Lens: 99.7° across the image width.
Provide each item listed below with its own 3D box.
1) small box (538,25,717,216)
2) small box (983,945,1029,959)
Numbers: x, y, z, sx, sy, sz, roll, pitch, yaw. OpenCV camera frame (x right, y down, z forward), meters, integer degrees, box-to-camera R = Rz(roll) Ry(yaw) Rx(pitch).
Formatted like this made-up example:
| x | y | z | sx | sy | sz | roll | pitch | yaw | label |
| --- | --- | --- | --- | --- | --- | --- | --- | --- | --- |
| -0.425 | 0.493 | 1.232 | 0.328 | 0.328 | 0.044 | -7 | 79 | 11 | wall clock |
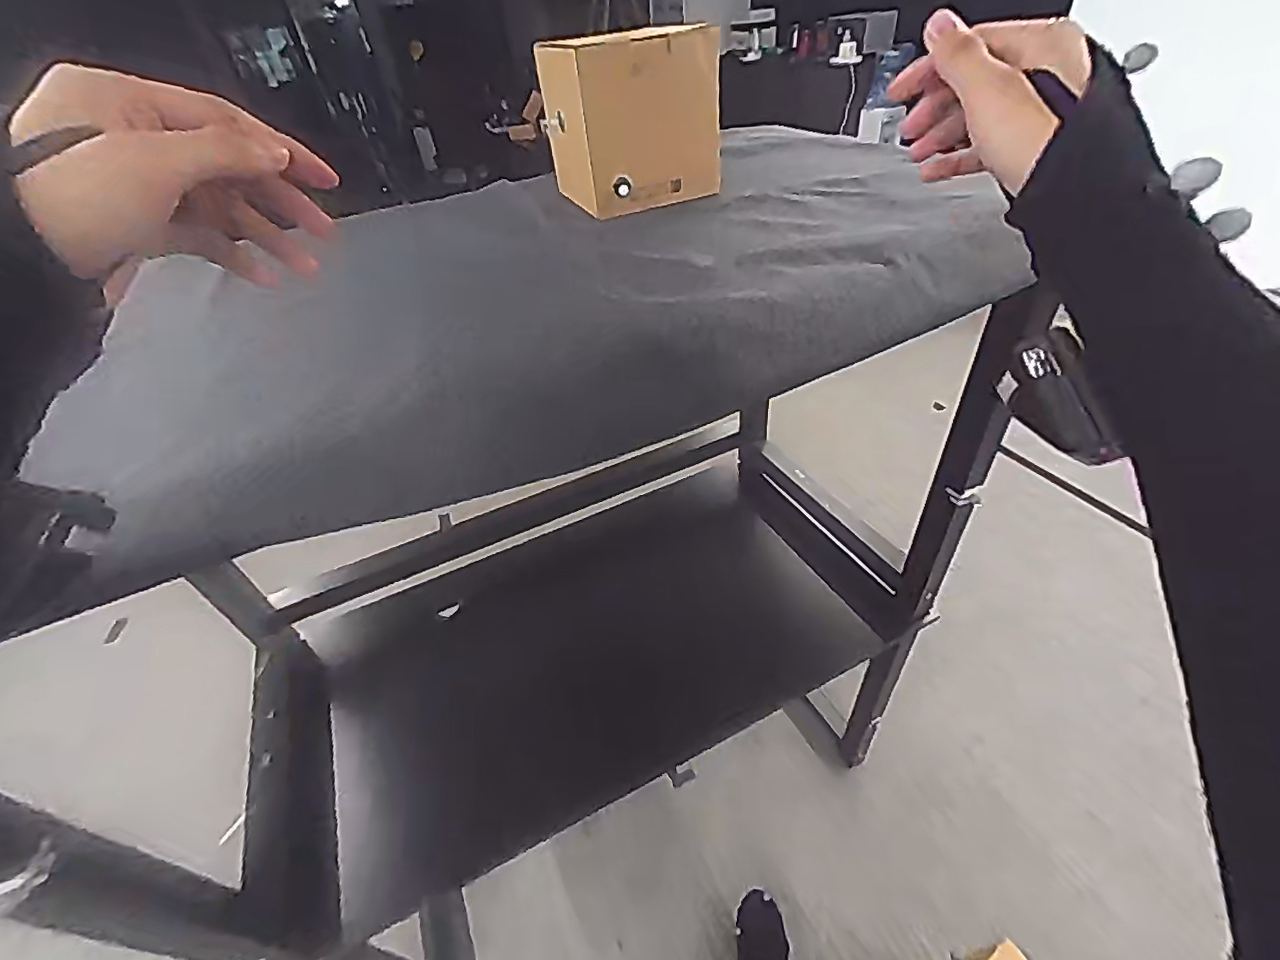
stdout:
| x | y | z | sx | sy | sz | roll | pitch | yaw | label |
| --- | --- | --- | --- | --- | --- | --- | --- | --- | --- |
| -0.011 | -0.445 | 0.675 | 0.168 | 0.176 | 0.179 | -19 | 42 | -13 | small box |
| 0.566 | 0.863 | 0.818 | 0.168 | 0.176 | 0.179 | -24 | 44 | -18 | small box |
